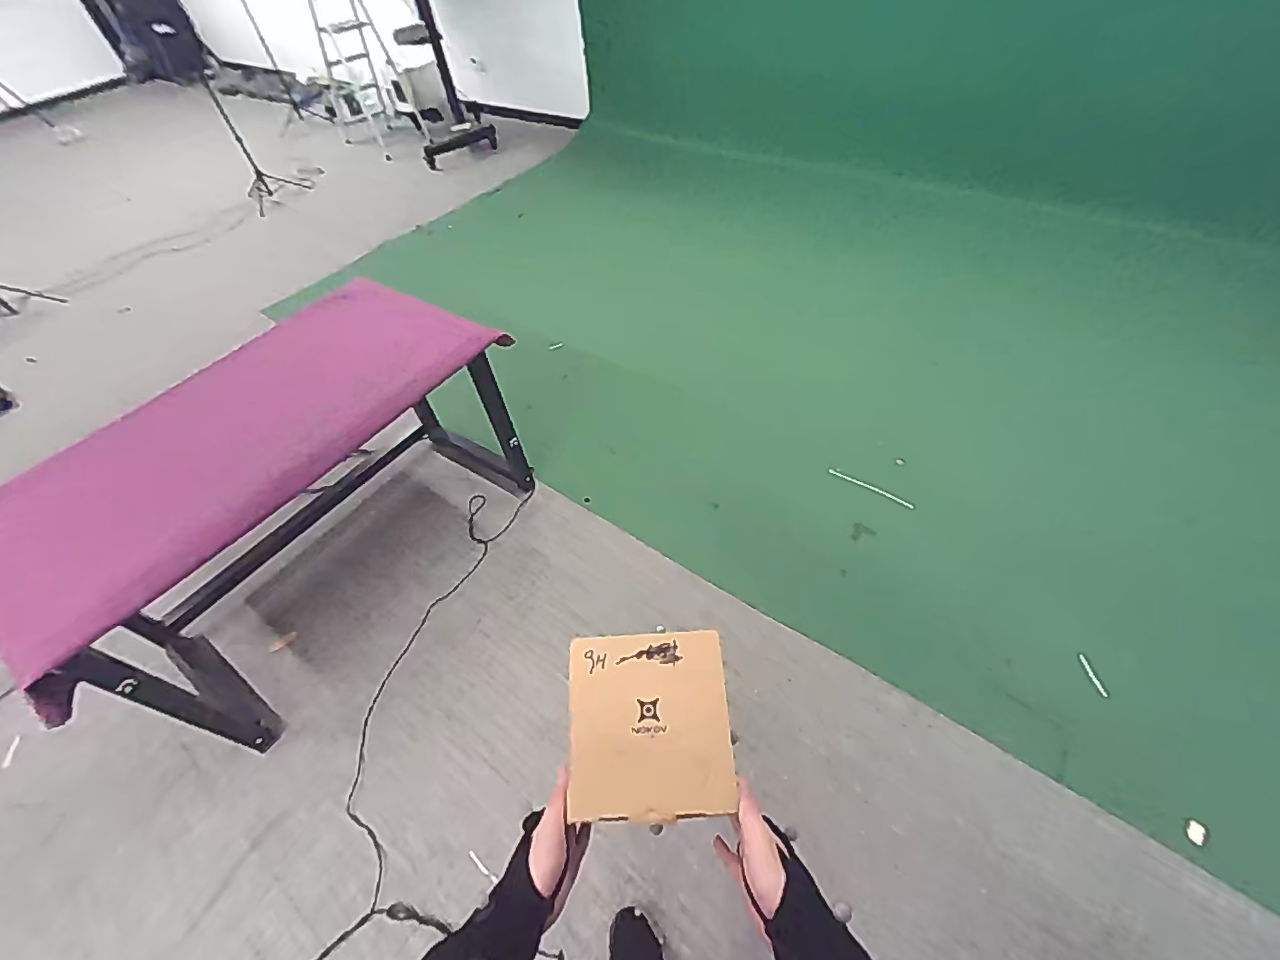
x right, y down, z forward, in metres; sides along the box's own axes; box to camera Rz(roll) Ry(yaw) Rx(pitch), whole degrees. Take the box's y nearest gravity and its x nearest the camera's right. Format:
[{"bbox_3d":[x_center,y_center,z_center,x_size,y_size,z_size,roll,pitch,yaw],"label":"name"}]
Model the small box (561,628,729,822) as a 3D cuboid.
[{"bbox_3d":[0.007,0.281,0.623,0.168,0.176,0.179,-4,61,1],"label":"small box"}]
